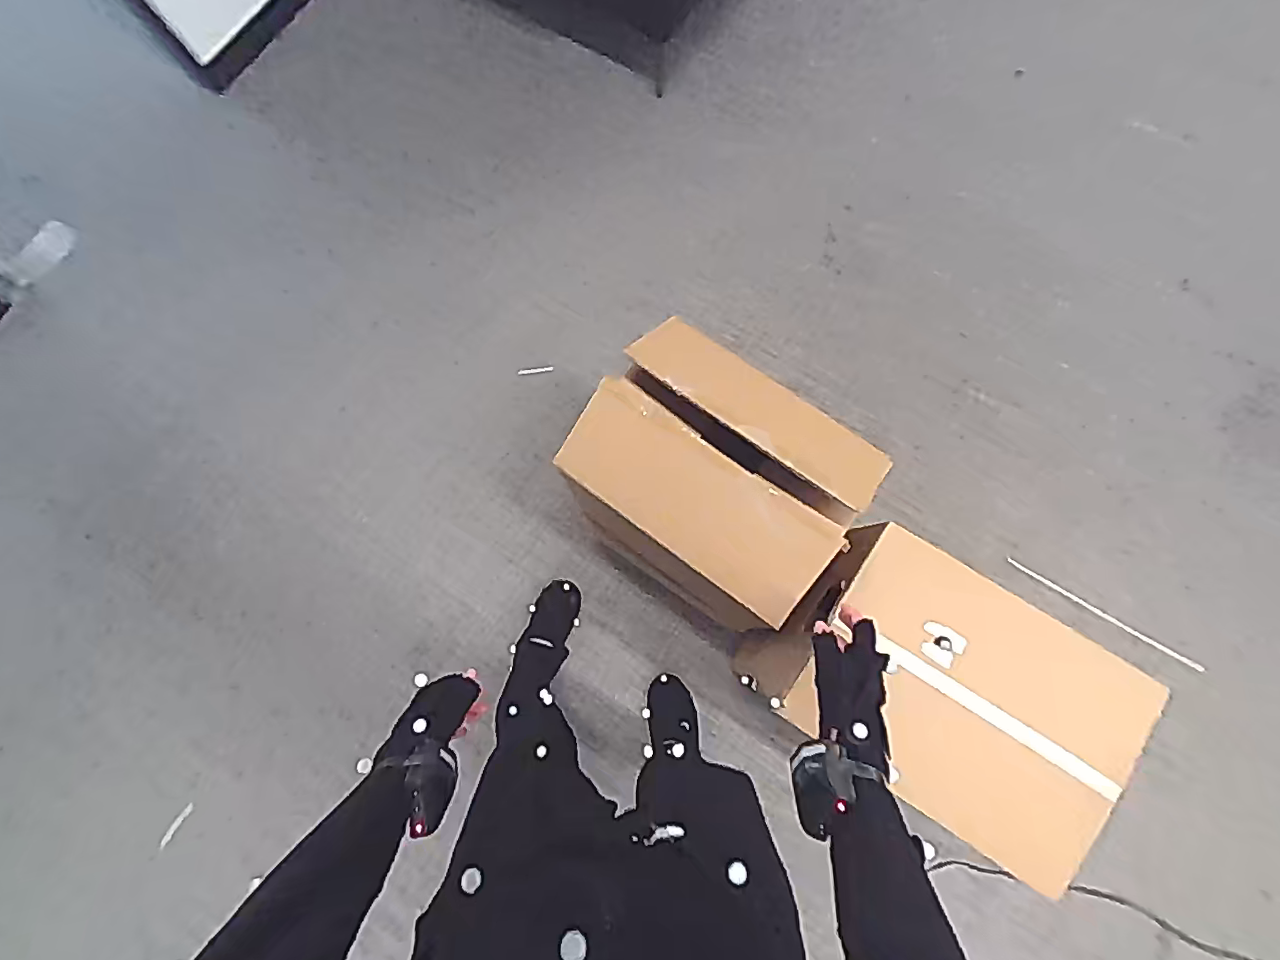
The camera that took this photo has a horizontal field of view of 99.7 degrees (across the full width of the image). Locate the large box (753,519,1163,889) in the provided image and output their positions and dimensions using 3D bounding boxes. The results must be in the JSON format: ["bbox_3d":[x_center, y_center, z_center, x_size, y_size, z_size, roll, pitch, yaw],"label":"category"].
[{"bbox_3d":[0.439,0.304,0.856,0.408,0.320,0.320,32,85,10],"label":"large box"}]
